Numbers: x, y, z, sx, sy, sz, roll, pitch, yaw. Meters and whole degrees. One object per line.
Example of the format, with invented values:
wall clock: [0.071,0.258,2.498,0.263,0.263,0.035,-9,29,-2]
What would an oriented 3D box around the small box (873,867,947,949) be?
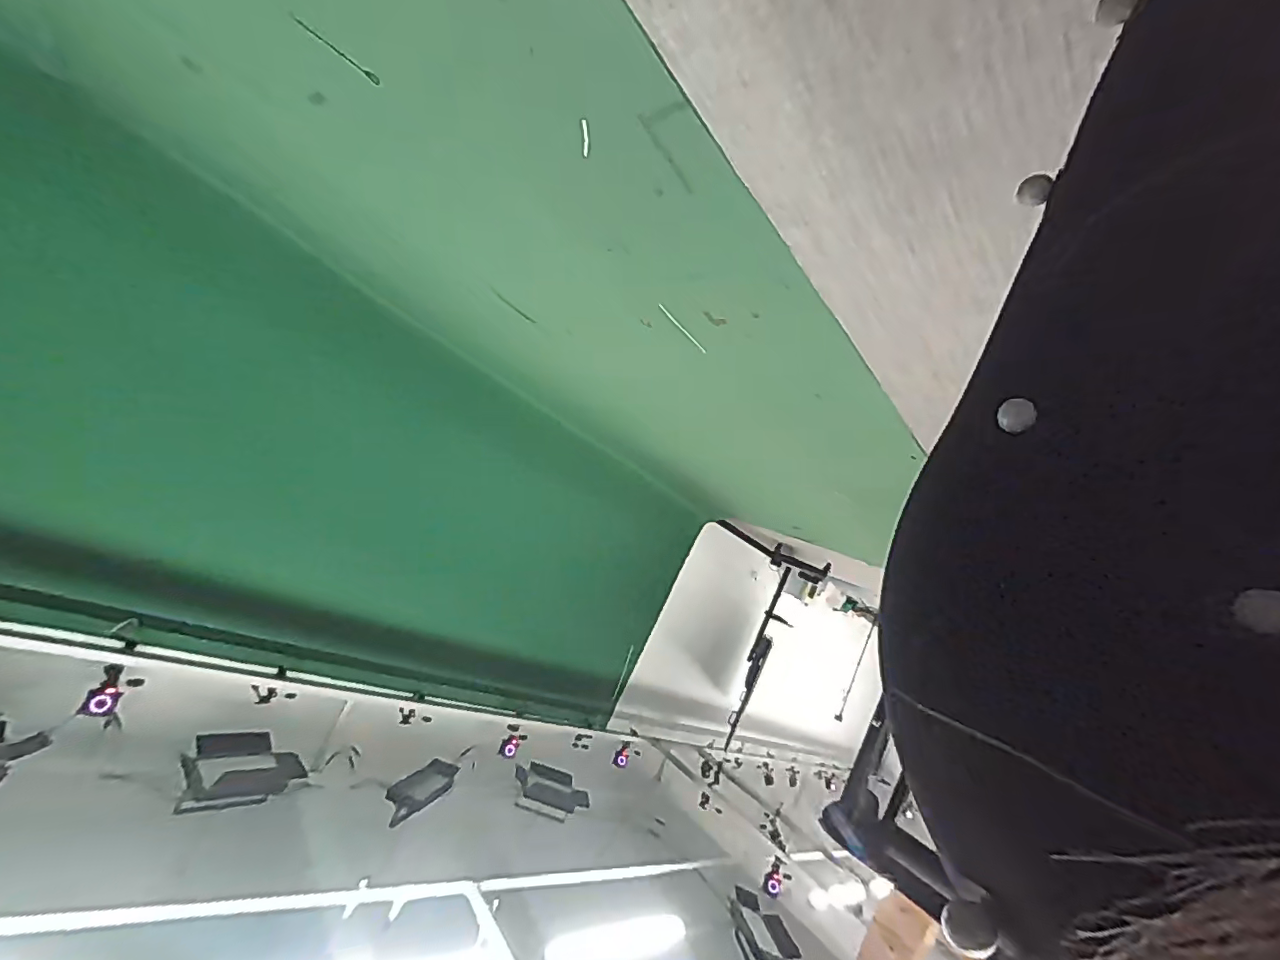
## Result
small box: [0.984,1.548,1.966,0.179,0.176,0.168,34,170,-40]

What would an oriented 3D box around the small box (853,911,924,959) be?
small box: [0.905,1.691,1.951,0.168,0.176,0.179,17,167,46]
